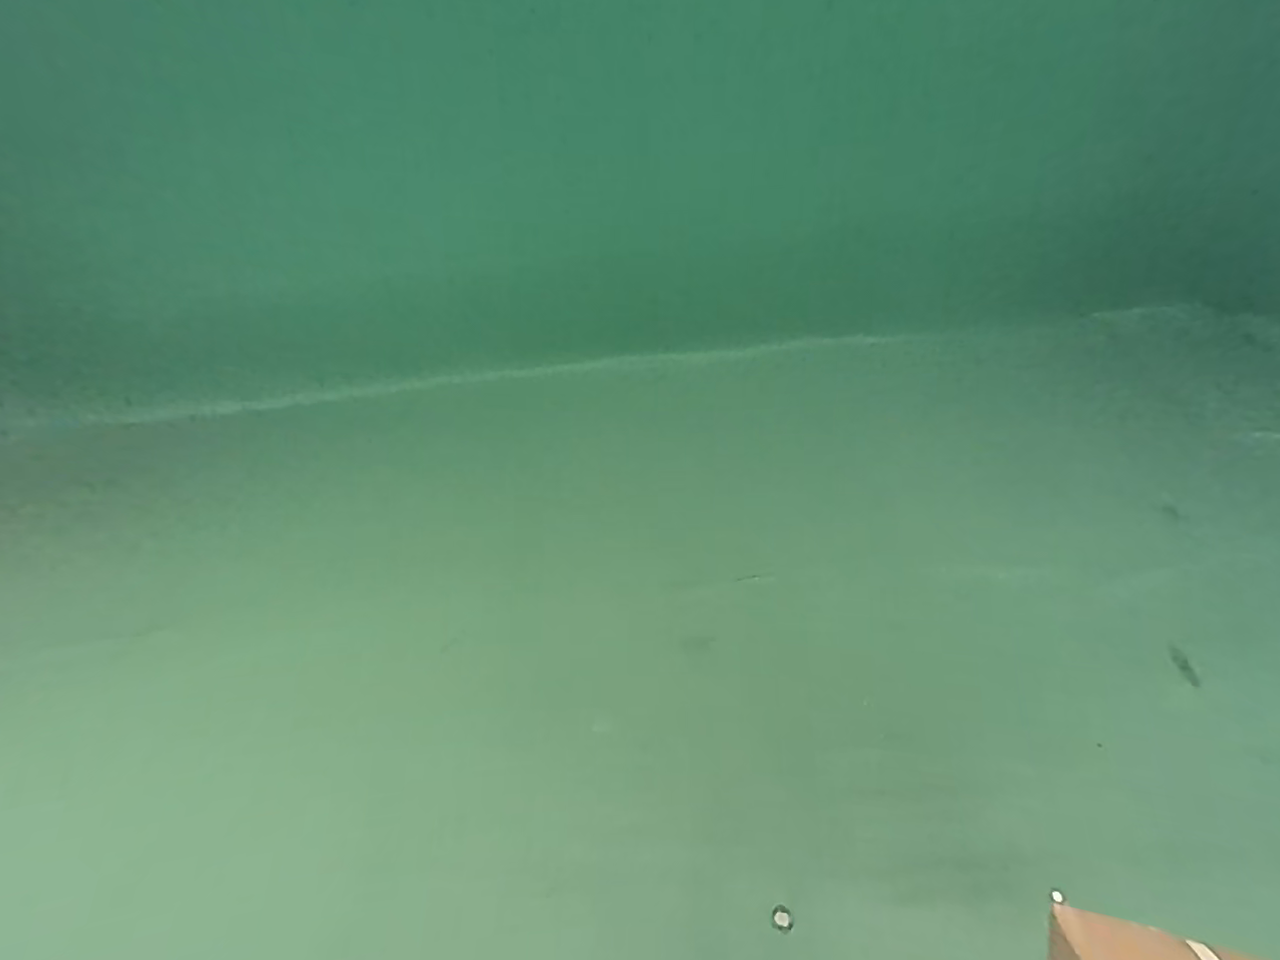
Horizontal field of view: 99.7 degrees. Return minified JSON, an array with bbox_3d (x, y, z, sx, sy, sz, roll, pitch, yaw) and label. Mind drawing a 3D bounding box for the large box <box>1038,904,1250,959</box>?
[{"bbox_3d":[0.634,0.748,0.527,0.320,0.408,0.320,6,87,20],"label":"large box"}]
